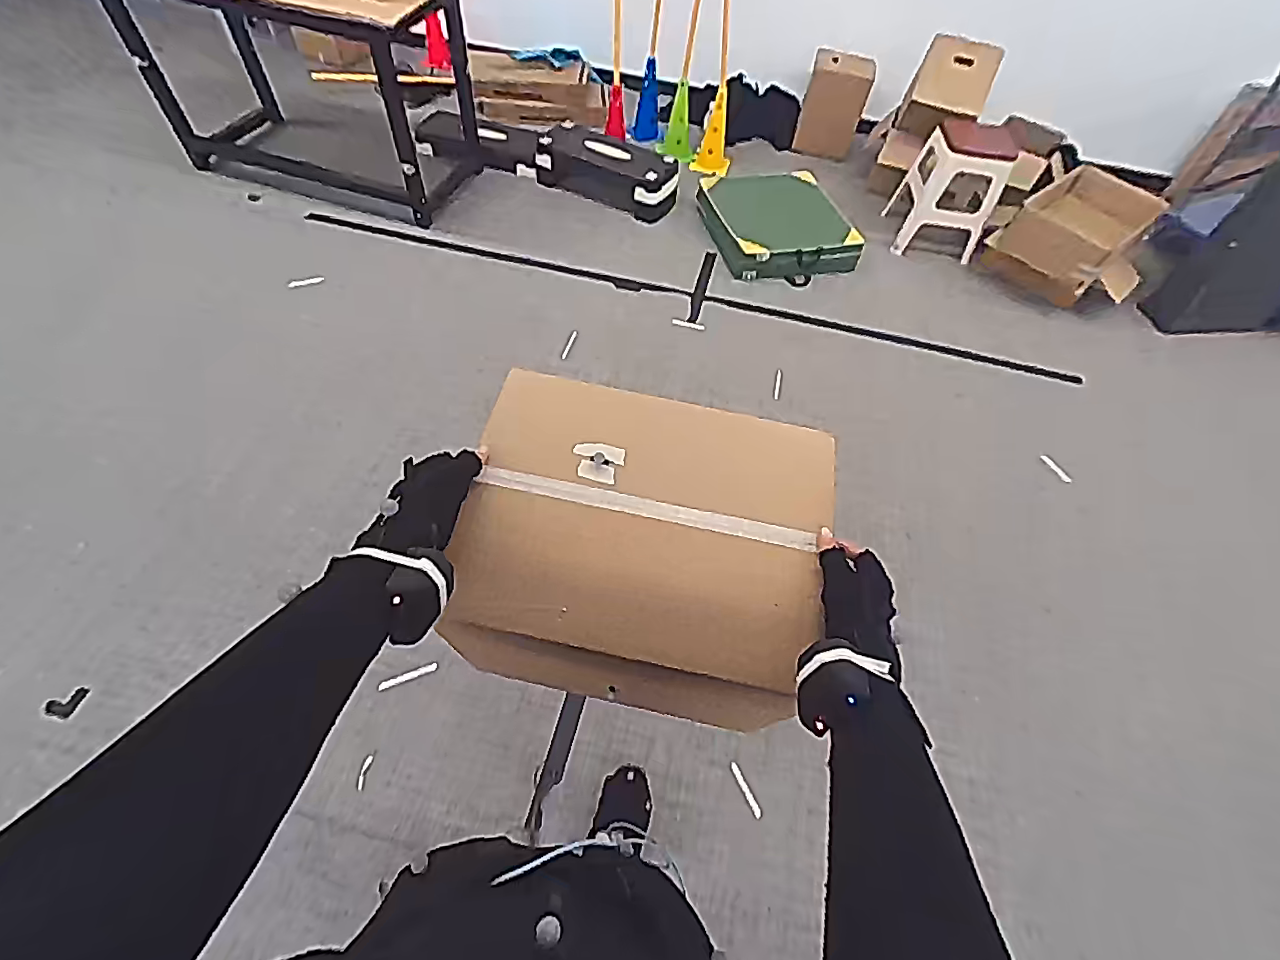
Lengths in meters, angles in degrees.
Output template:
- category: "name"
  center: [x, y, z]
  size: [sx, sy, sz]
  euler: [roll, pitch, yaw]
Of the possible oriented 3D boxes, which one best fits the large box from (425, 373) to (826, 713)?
- category: "large box"
  center: [0.001, 0.102, 0.730]
  size: [0.408, 0.320, 0.320]
  euler: [12, 59, 3]
